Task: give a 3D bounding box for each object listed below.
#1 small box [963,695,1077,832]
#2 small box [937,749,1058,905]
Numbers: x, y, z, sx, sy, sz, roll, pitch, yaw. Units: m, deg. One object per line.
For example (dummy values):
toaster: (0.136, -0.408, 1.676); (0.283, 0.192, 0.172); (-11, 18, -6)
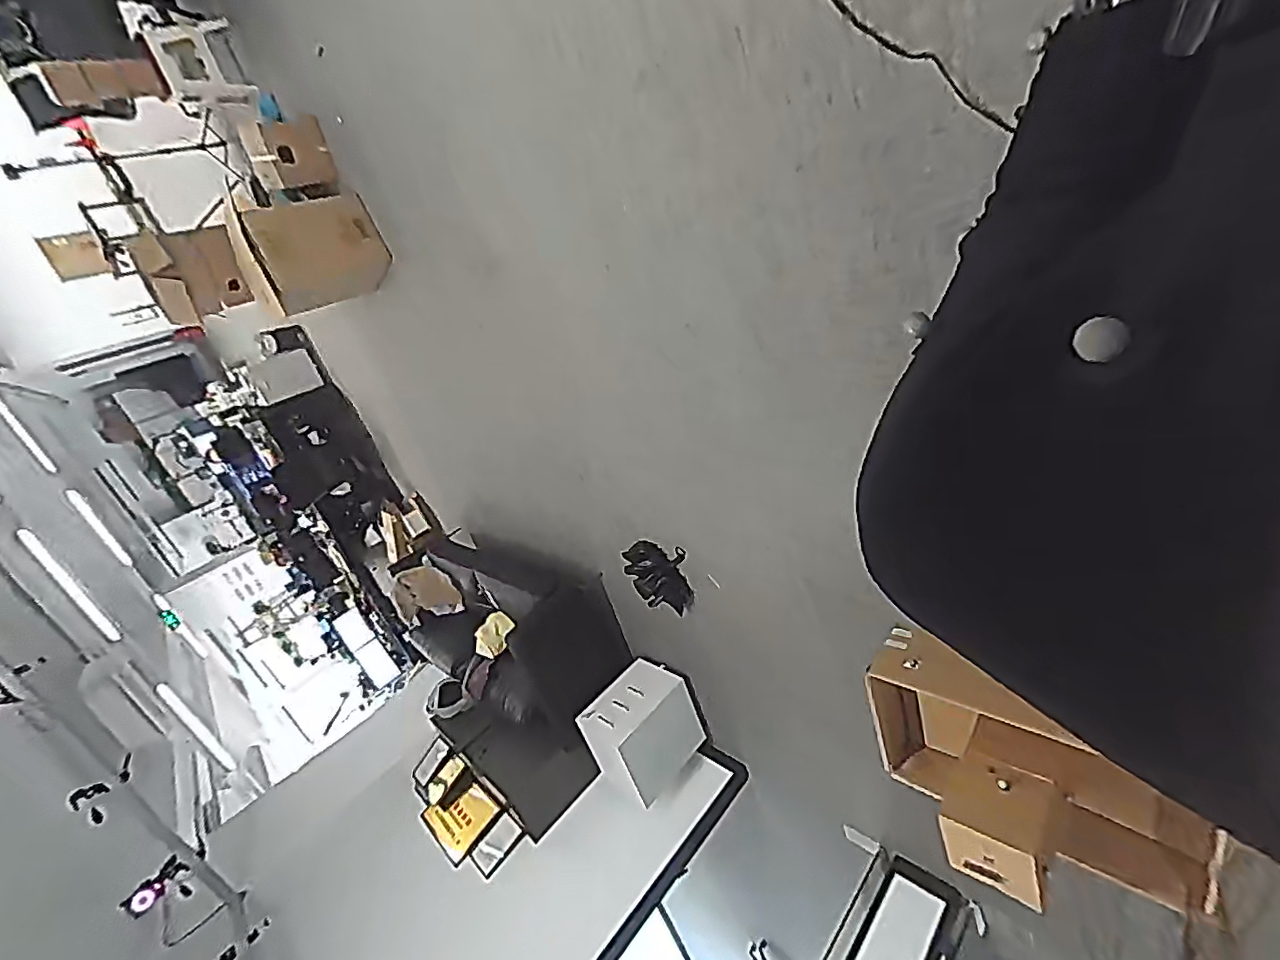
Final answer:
small box: (0.851, 0.621, 1.205); (0.168, 0.176, 0.179); (1, 120, 49)
small box: (0.742, 0.705, 1.116); (0.168, 0.176, 0.179); (3, 122, 48)
